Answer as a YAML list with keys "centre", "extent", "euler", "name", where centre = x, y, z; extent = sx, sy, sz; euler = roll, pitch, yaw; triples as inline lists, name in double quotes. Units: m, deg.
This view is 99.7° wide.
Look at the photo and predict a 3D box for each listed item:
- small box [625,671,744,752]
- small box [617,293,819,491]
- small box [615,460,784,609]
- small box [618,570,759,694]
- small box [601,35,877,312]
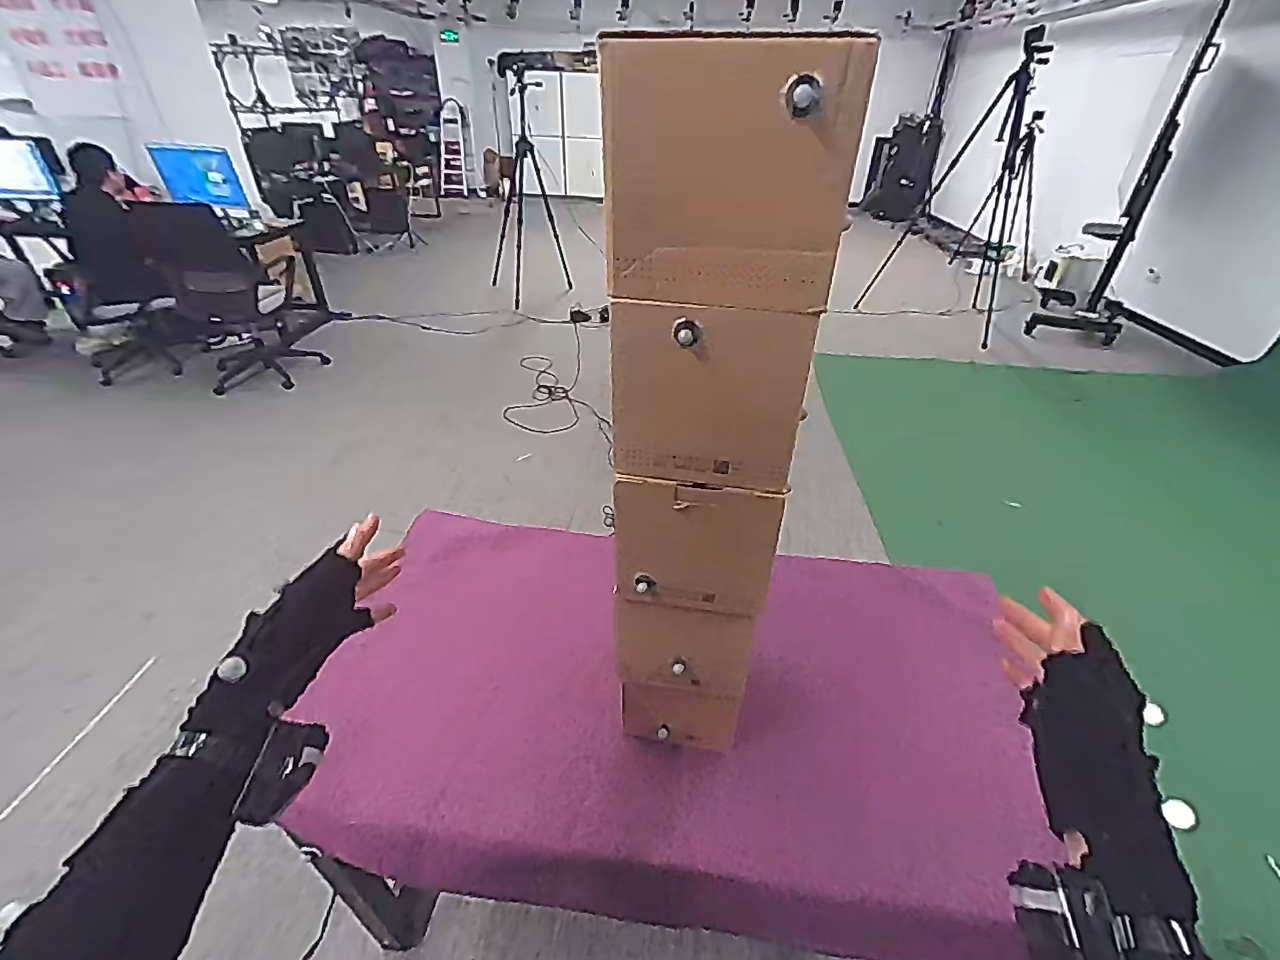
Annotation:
- centre: [0.071, 0.280, 0.834]
  extent: [0.168, 0.176, 0.179]
  euler: [7, 36, 9]
  name: "small box"
- centre: [0.074, -0.112, 0.539]
  extent: [0.168, 0.176, 0.179]
  euler: [7, 34, 9]
  name: "small box"
- centre: [0.072, 0.025, 0.627]
  extent: [0.168, 0.176, 0.179]
  euler: [6, 34, 8]
  name: "small box"
- centre: [0.067, 0.154, 0.729]
  extent: [0.168, 0.176, 0.179]
  euler: [5, 35, 8]
  name: "small box"
- centre: [0.075, -0.246, 0.445]
  extent: [0.179, 0.176, 0.168]
  euler: [9, 36, 10]
  name: "small box"
